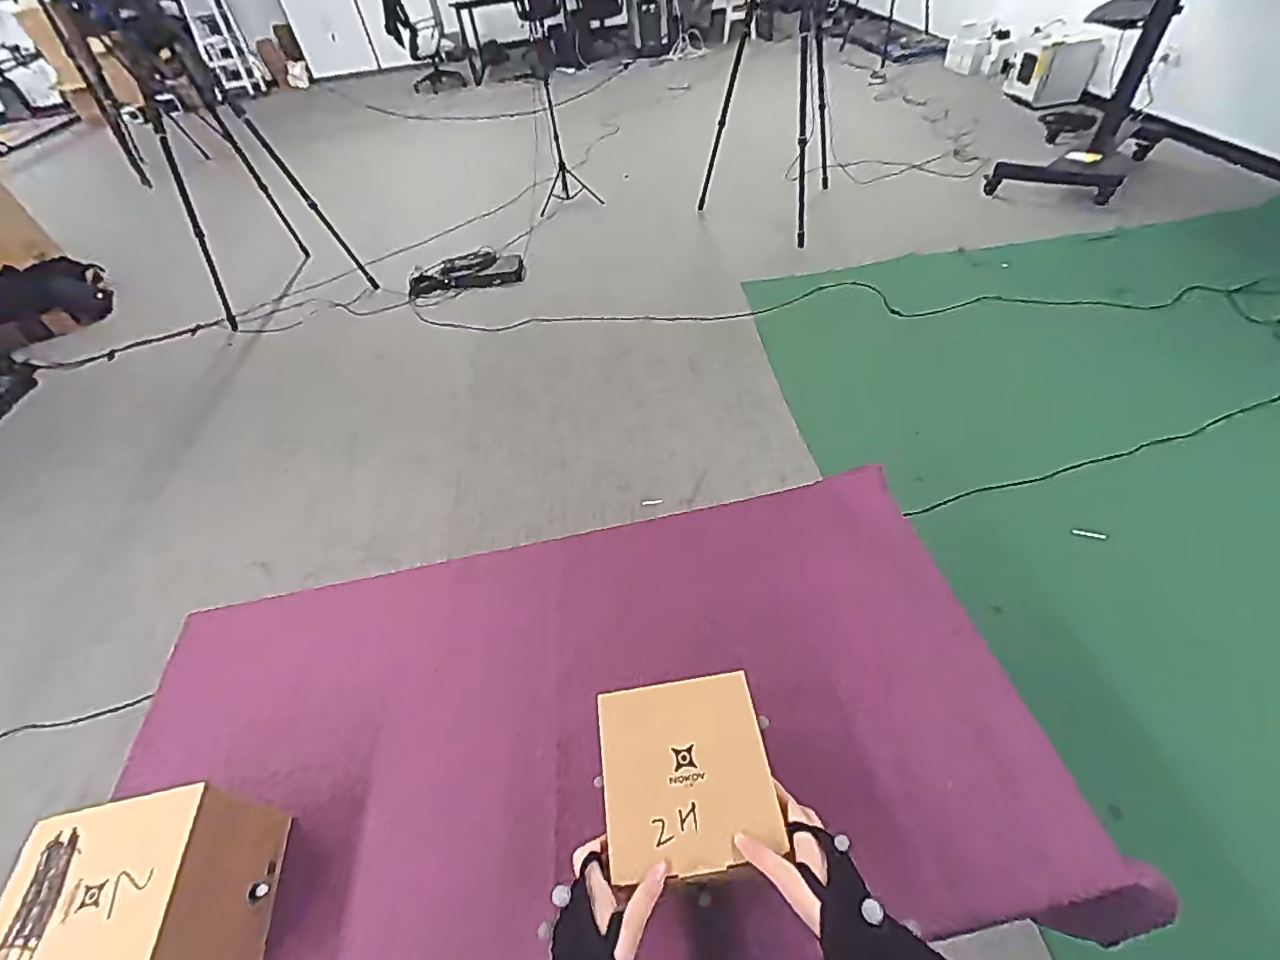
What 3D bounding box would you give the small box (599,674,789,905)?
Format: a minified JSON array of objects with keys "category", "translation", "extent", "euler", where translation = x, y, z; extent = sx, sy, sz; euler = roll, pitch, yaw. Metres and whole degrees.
[{"category":"small box","translation":[0.051,0.341,0.595],"extent":[0.168,0.176,0.179],"euler":[-10,48,0]}]
